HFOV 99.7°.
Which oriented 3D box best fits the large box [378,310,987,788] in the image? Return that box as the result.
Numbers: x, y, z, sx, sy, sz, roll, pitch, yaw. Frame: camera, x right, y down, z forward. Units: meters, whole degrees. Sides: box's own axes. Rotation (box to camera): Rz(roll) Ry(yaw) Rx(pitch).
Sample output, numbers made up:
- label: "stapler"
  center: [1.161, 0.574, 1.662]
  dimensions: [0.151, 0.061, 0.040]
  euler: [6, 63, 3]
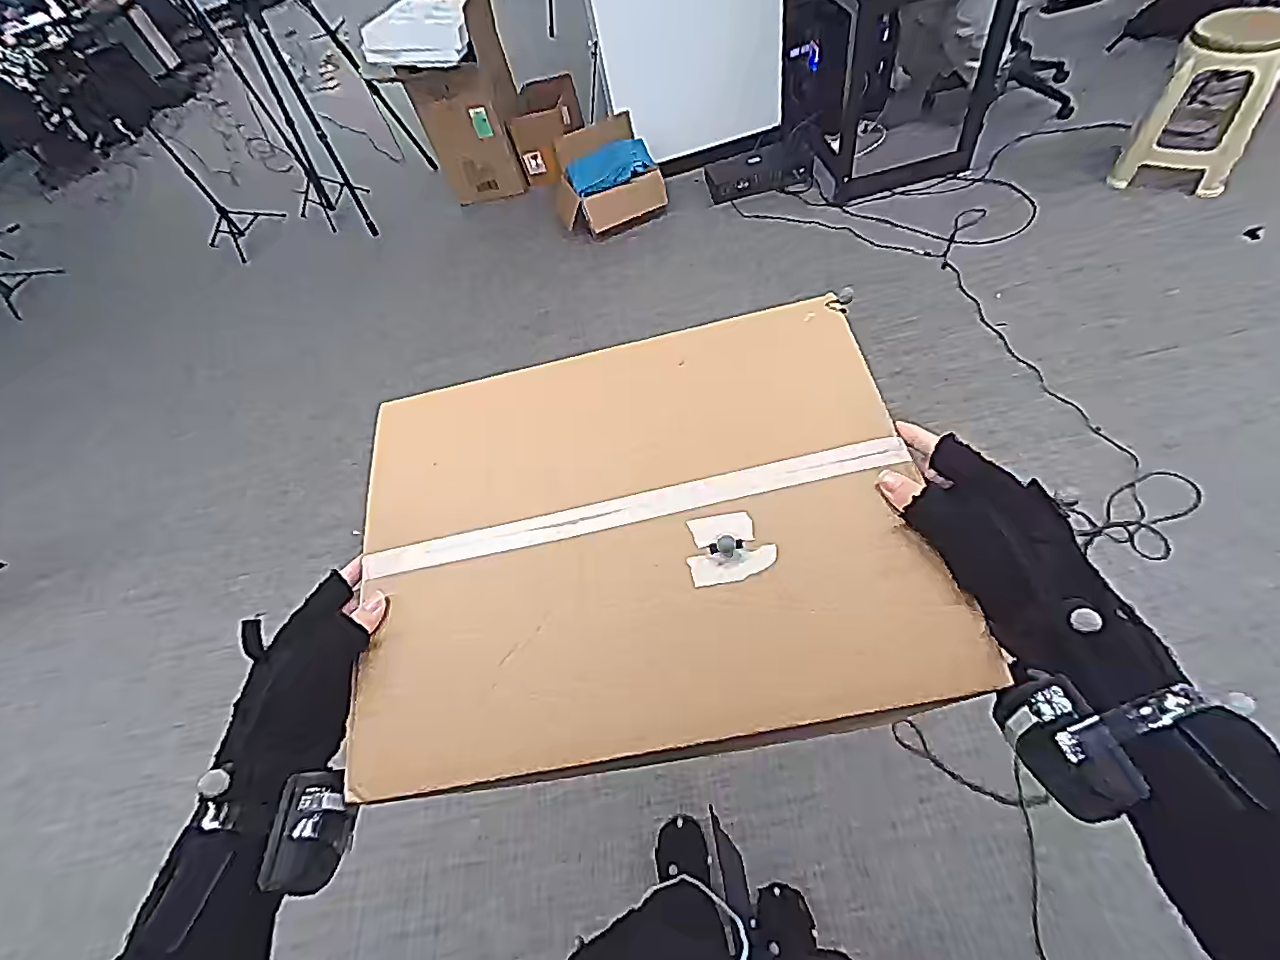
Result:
- label: "large box"
  center: [0.020, 0.094, 0.541]
  dimensions: [0.408, 0.320, 0.320]
  euler: [-12, 62, 4]
